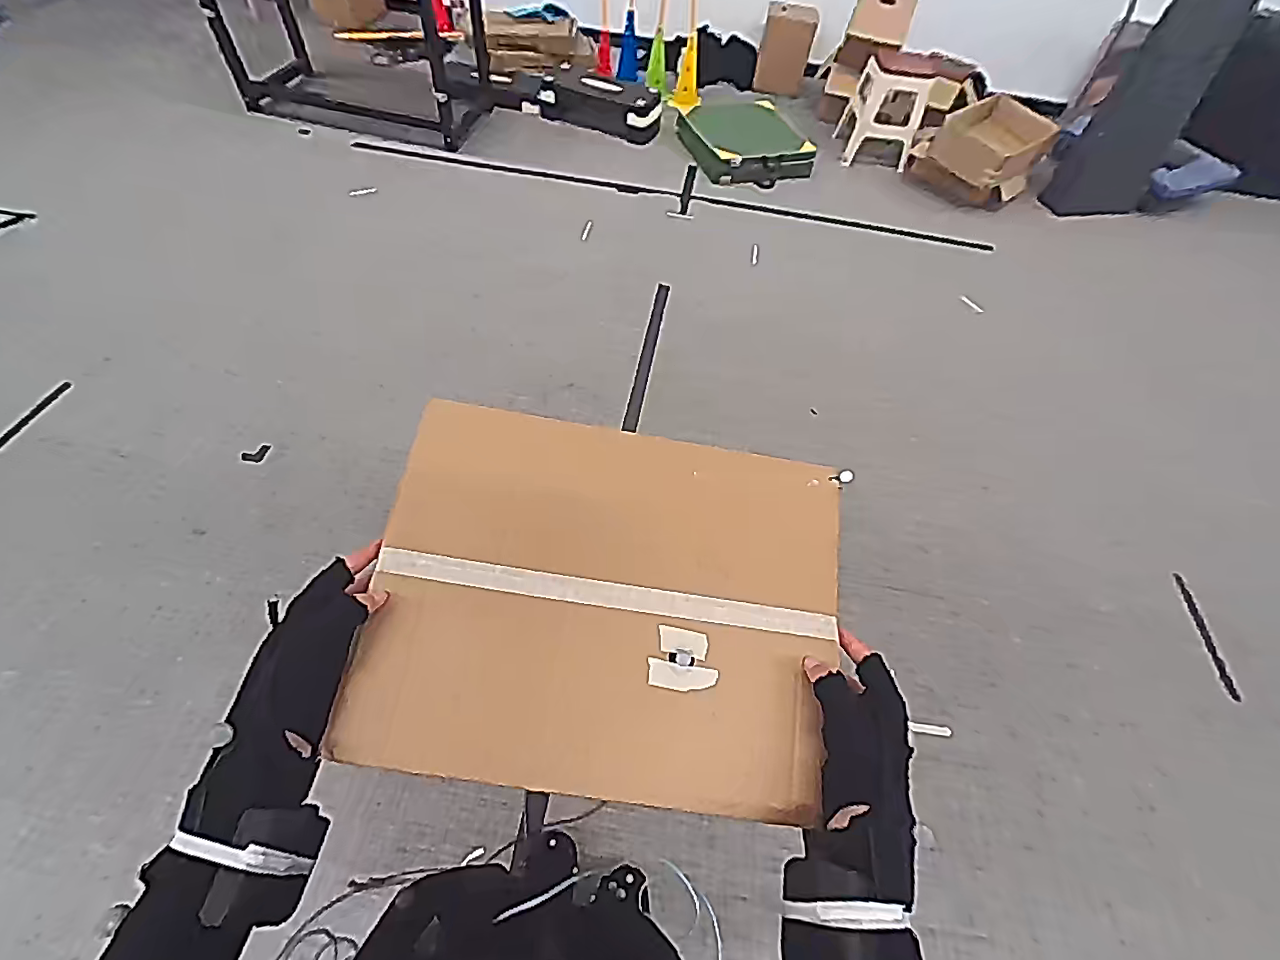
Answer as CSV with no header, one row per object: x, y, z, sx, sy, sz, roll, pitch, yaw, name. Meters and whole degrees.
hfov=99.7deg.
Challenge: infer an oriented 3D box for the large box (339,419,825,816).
-0.043,0.160,0.626,0.408,0.320,0.320,10,70,-3,large box
